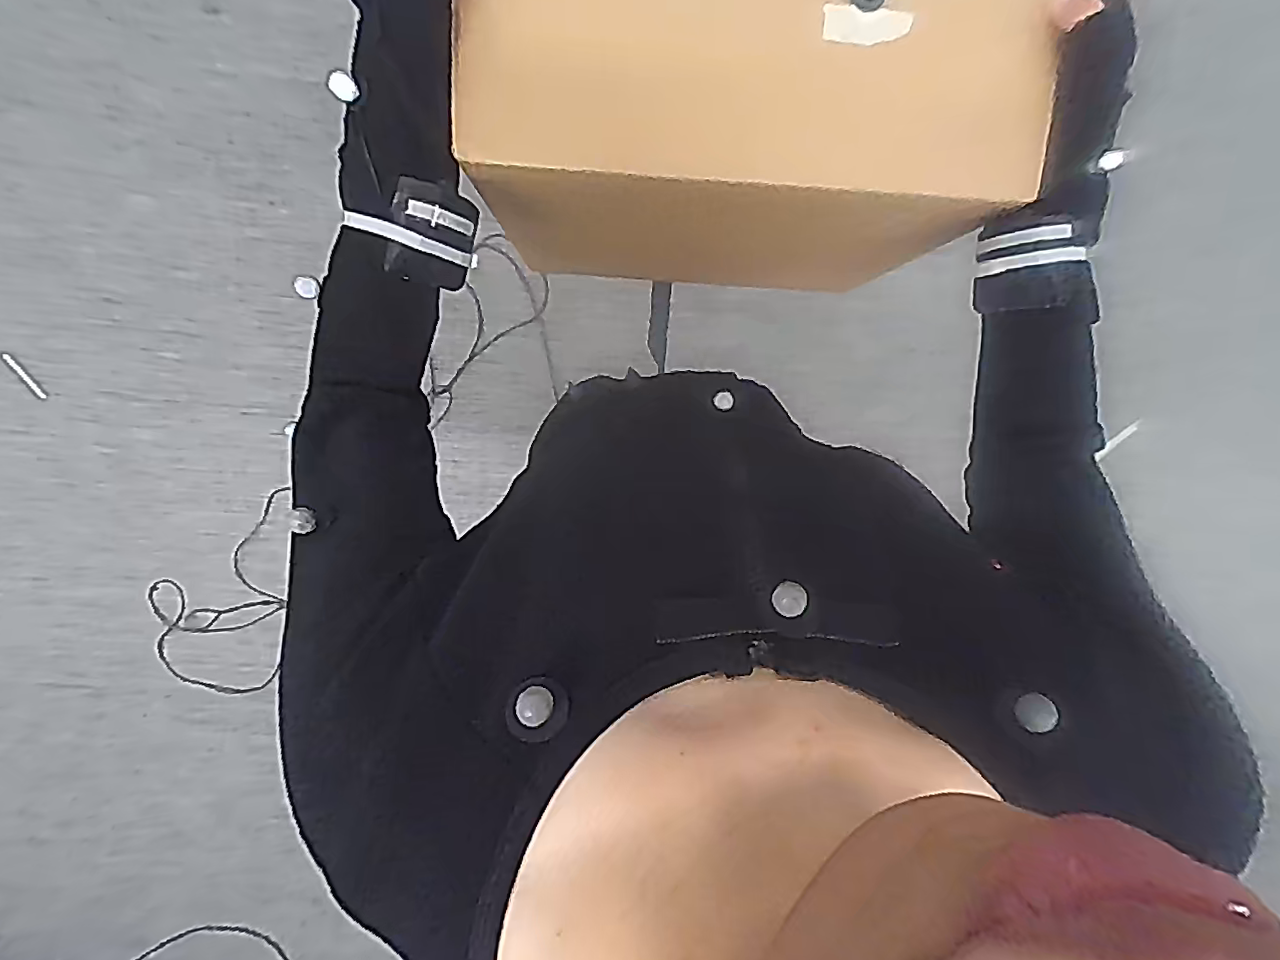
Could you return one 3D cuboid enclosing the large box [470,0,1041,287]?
[{"bbox_3d":[0.076,-0.384,0.515,0.408,0.320,0.320,2,98,-3],"label":"large box"}]
